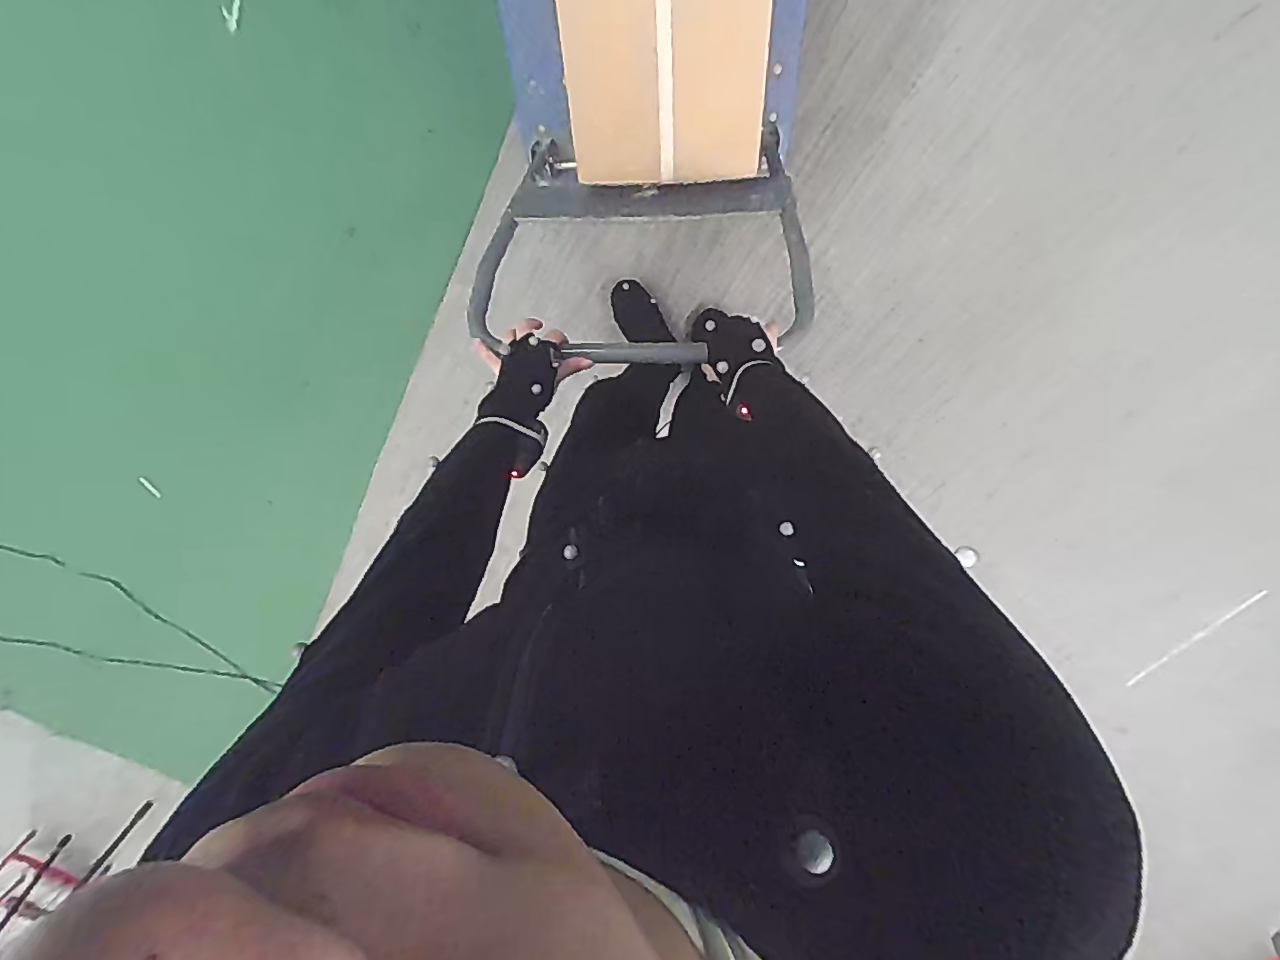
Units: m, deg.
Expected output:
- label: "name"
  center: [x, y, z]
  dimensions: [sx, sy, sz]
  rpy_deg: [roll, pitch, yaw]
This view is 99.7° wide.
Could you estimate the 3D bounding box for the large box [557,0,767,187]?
- label: "large box"
  center: [0.047, -0.770, 0.926]
  dimensions: [0.320, 0.320, 0.408]
  rpy_deg: [1, 135, 5]
